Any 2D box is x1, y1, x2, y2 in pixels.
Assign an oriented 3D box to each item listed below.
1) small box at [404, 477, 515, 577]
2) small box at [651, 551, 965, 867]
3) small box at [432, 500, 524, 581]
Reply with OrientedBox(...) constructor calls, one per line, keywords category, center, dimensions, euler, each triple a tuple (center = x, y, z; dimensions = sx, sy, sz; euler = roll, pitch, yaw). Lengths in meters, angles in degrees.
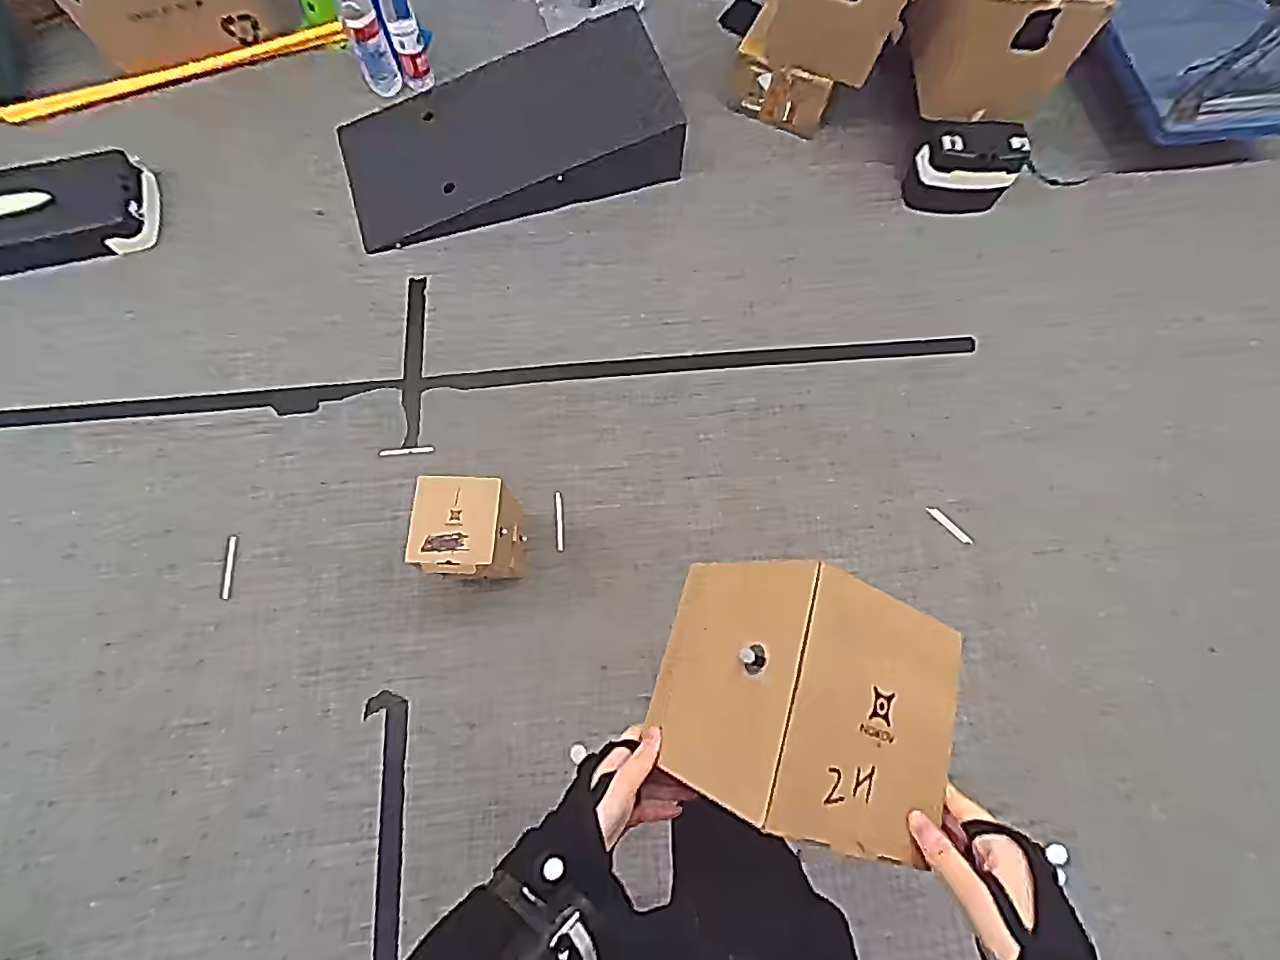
OrientedBox(category="small box", center=(-0.358, 0.103, 1.106), dimensions=(0.168, 0.176, 0.179), euler=(2, 73, -2))
OrientedBox(category="small box", center=(0.131, 0.173, 0.446), dimensions=(0.168, 0.176, 0.179), euler=(27, 69, -21))
OrientedBox(category="small box", center=(-0.370, 0.145, 1.266), dimensions=(0.179, 0.176, 0.168), euler=(-2, 73, -4))
